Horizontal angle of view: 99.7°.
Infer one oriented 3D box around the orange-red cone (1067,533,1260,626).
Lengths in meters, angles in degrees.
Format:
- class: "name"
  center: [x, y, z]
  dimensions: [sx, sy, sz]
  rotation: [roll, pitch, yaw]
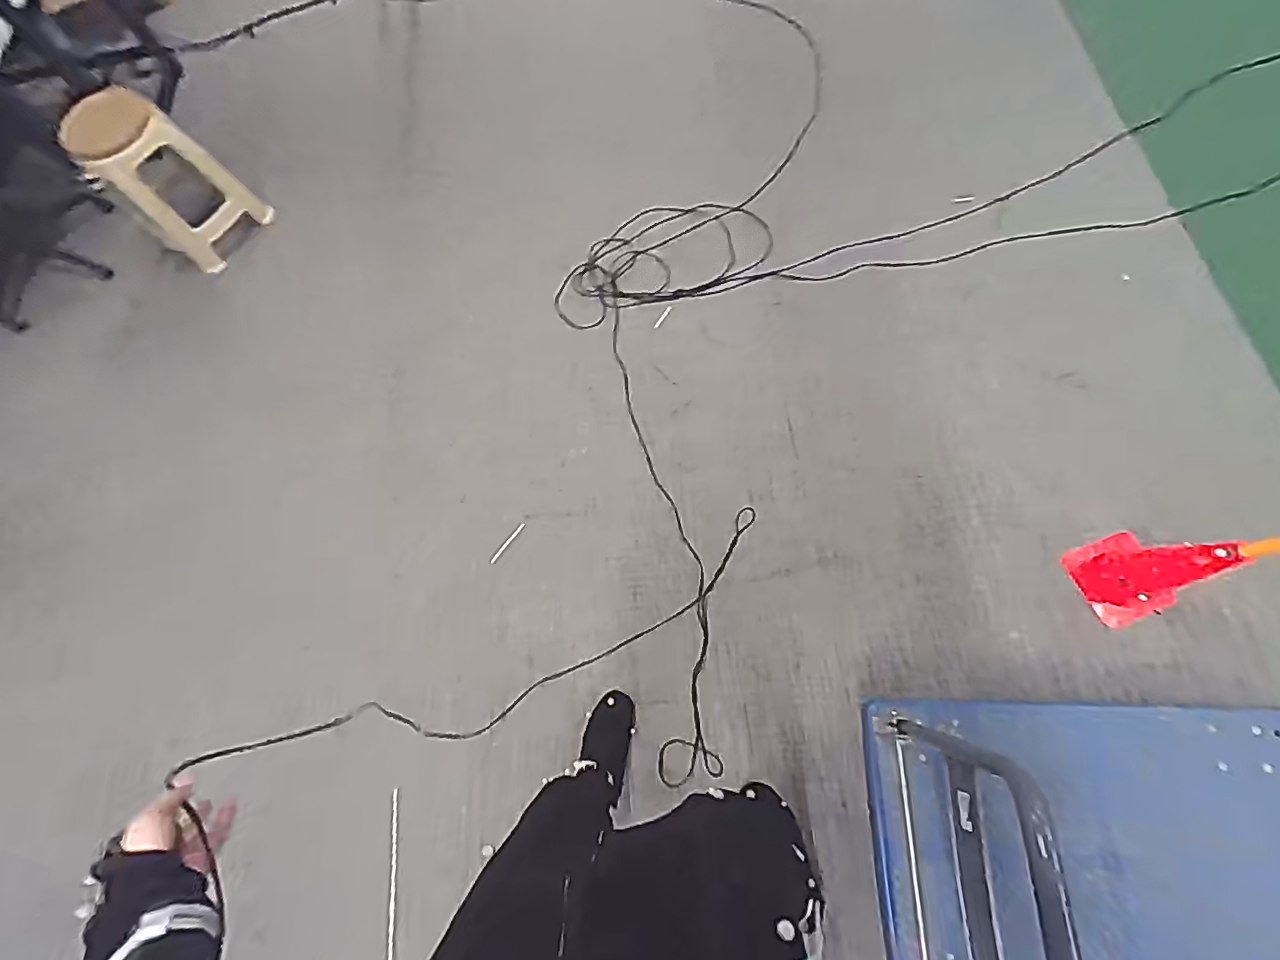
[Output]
- class: "orange-red cone"
  center: [1.205, 0.192, 1.217]
  dimensions: [0.198, 0.360, 0.199]
  rotation: [-21, 69, -2]
